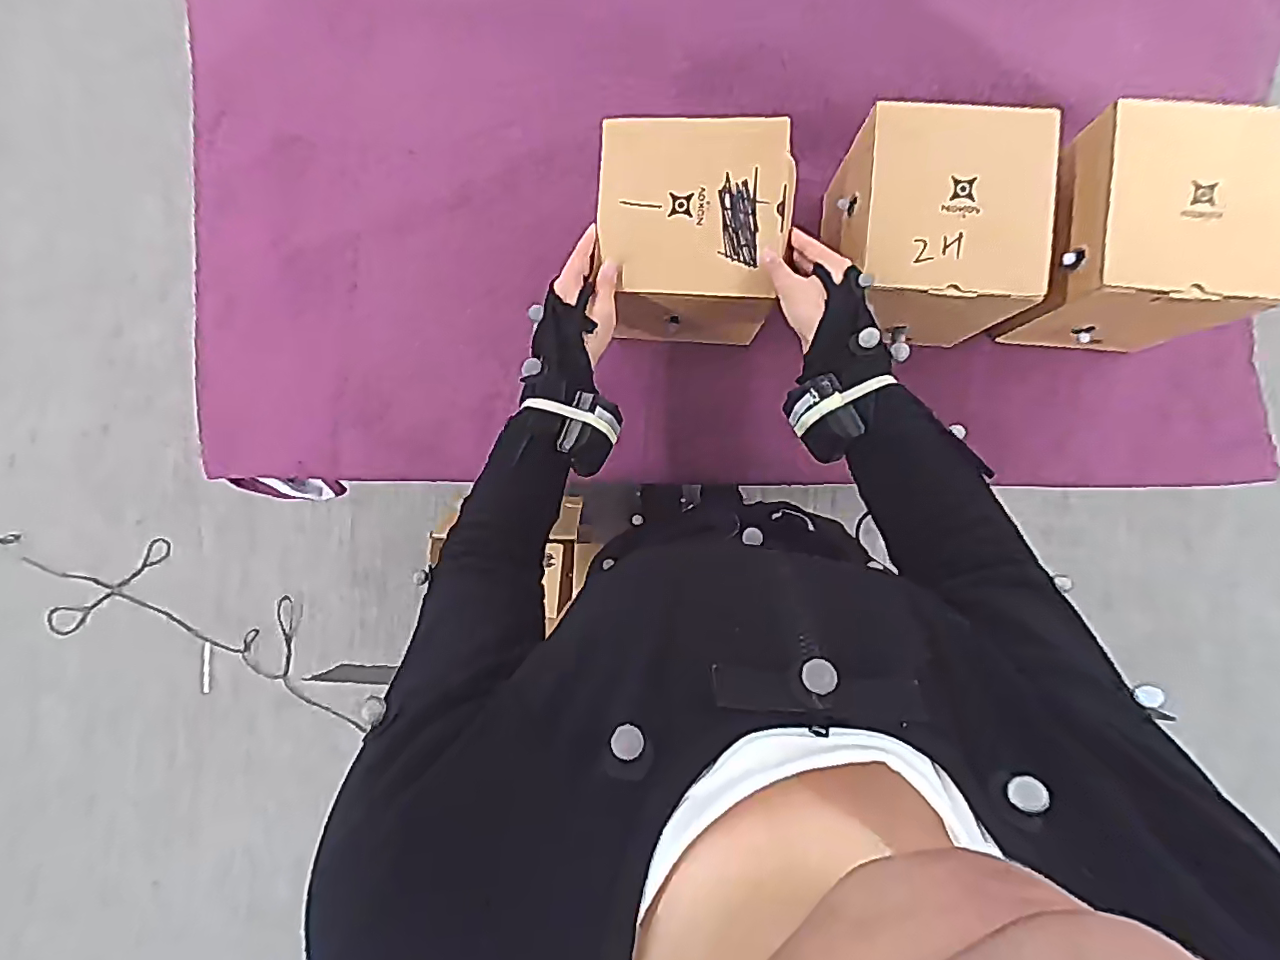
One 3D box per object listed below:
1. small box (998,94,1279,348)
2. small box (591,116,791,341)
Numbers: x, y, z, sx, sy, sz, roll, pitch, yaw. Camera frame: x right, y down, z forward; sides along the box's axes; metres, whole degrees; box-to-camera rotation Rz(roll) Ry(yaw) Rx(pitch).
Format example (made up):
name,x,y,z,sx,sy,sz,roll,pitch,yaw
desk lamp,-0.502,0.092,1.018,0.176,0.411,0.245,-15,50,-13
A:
name,x,y,z,sx,sy,sz,roll,pitch,yaw
small box,0.505,-0.250,0.557,0.168,0.176,0.179,5,90,3
small box,0.051,-0.253,0.582,0.179,0.176,0.168,4,91,4
